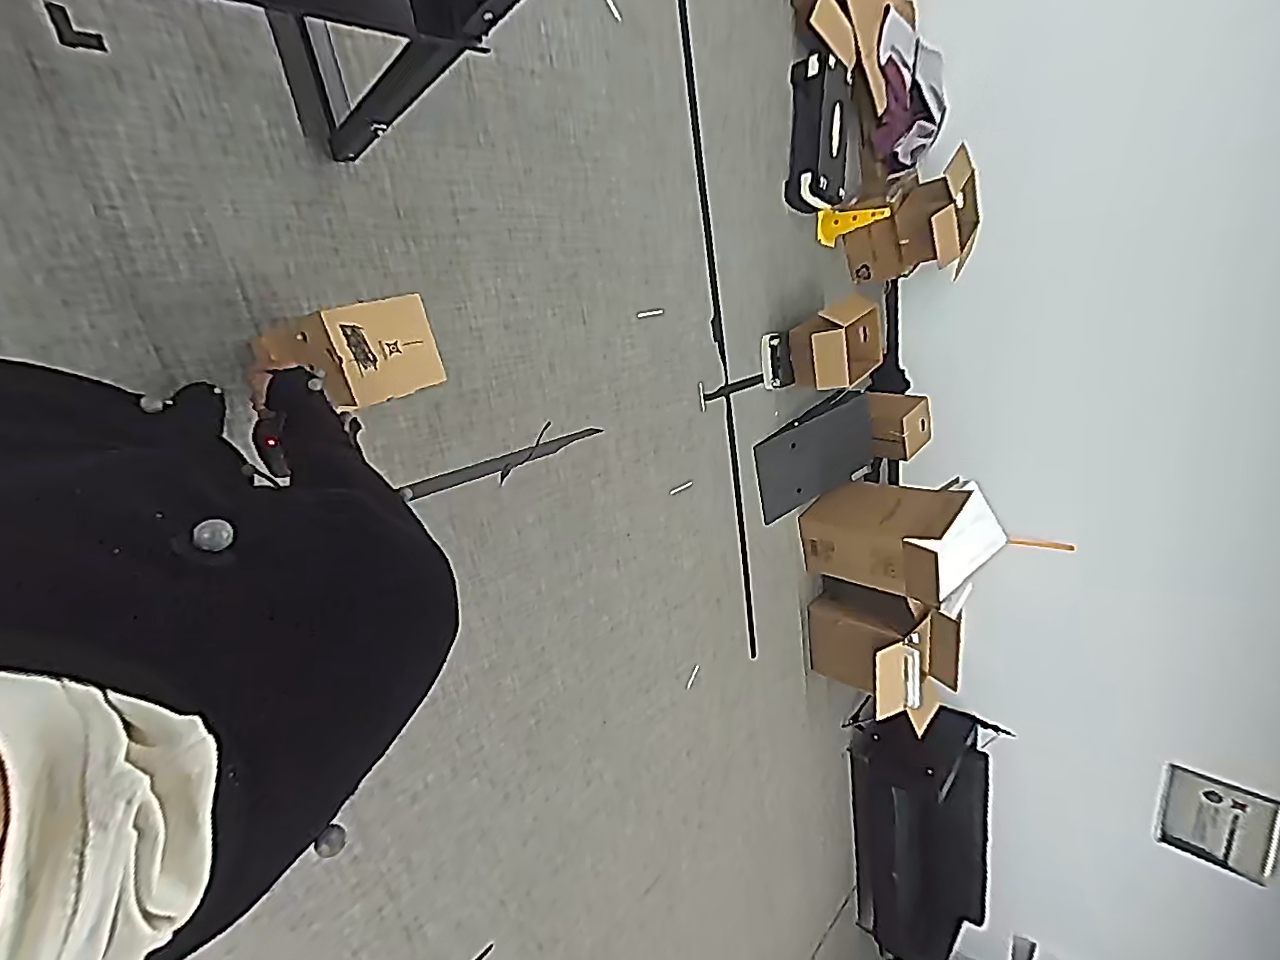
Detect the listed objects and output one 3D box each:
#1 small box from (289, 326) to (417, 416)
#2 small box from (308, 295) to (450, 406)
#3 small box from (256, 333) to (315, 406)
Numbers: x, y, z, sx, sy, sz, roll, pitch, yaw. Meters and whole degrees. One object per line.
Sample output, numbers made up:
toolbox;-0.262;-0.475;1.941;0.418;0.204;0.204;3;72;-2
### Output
small box;-0.602;-0.244;1.135;0.168;0.176;0.179;-28;116;-37
small box;-0.493;-0.239;1.010;0.179;0.176;0.168;-29;116;-38
small box;-0.831;-0.289;1.364;0.179;0.176;0.168;-26;114;-38
